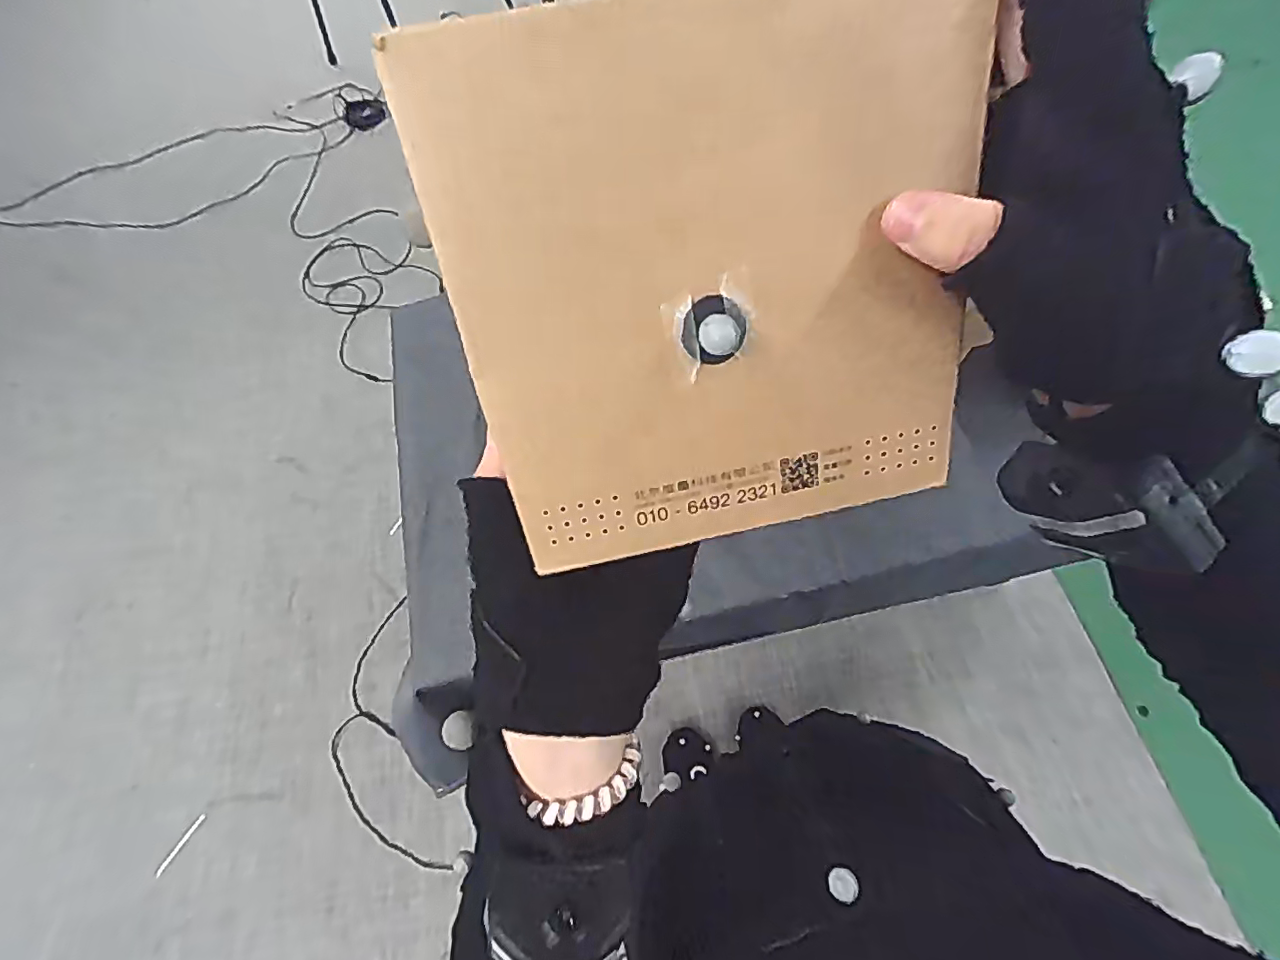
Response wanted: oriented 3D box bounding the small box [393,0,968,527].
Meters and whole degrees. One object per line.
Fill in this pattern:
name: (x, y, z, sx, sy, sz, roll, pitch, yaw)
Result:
small box: (0.018, -0.091, 0.251, 0.168, 0.176, 0.179, -12, 27, -2)
